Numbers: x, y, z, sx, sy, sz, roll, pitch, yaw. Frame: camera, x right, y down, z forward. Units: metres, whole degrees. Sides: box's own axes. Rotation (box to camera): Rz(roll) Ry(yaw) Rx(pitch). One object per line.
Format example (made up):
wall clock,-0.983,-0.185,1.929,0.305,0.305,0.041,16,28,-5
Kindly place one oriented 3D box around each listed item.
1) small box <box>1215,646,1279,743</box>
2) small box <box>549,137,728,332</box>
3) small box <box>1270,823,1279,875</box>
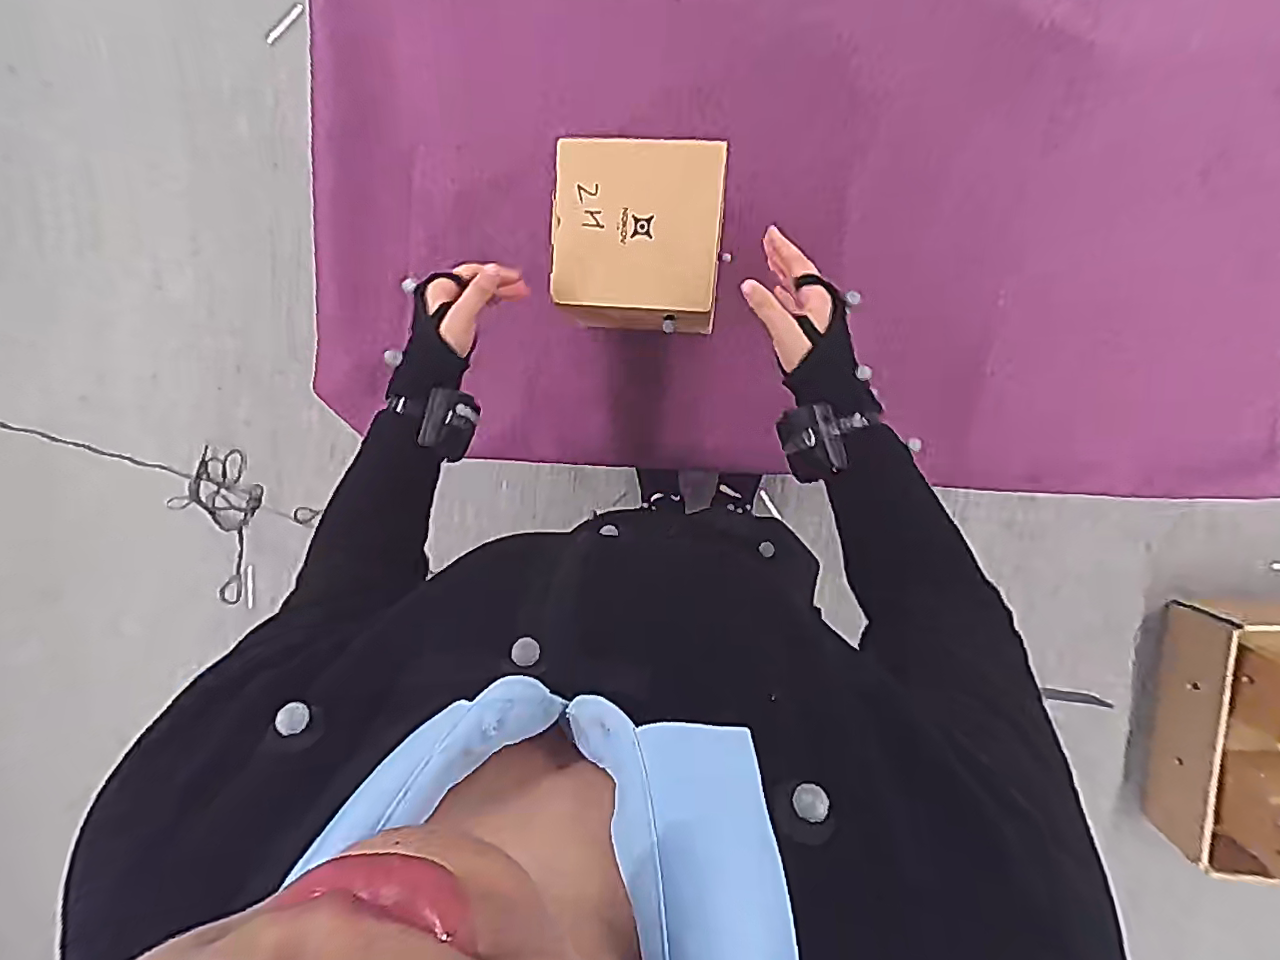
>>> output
small box,1.499,0.499,1.229,0.179,0.176,0.168,10,100,6
small box,0.005,-0.270,0.631,0.179,0.176,0.168,6,98,7
small box,1.472,0.797,1.104,0.179,0.176,0.168,0,98,6
